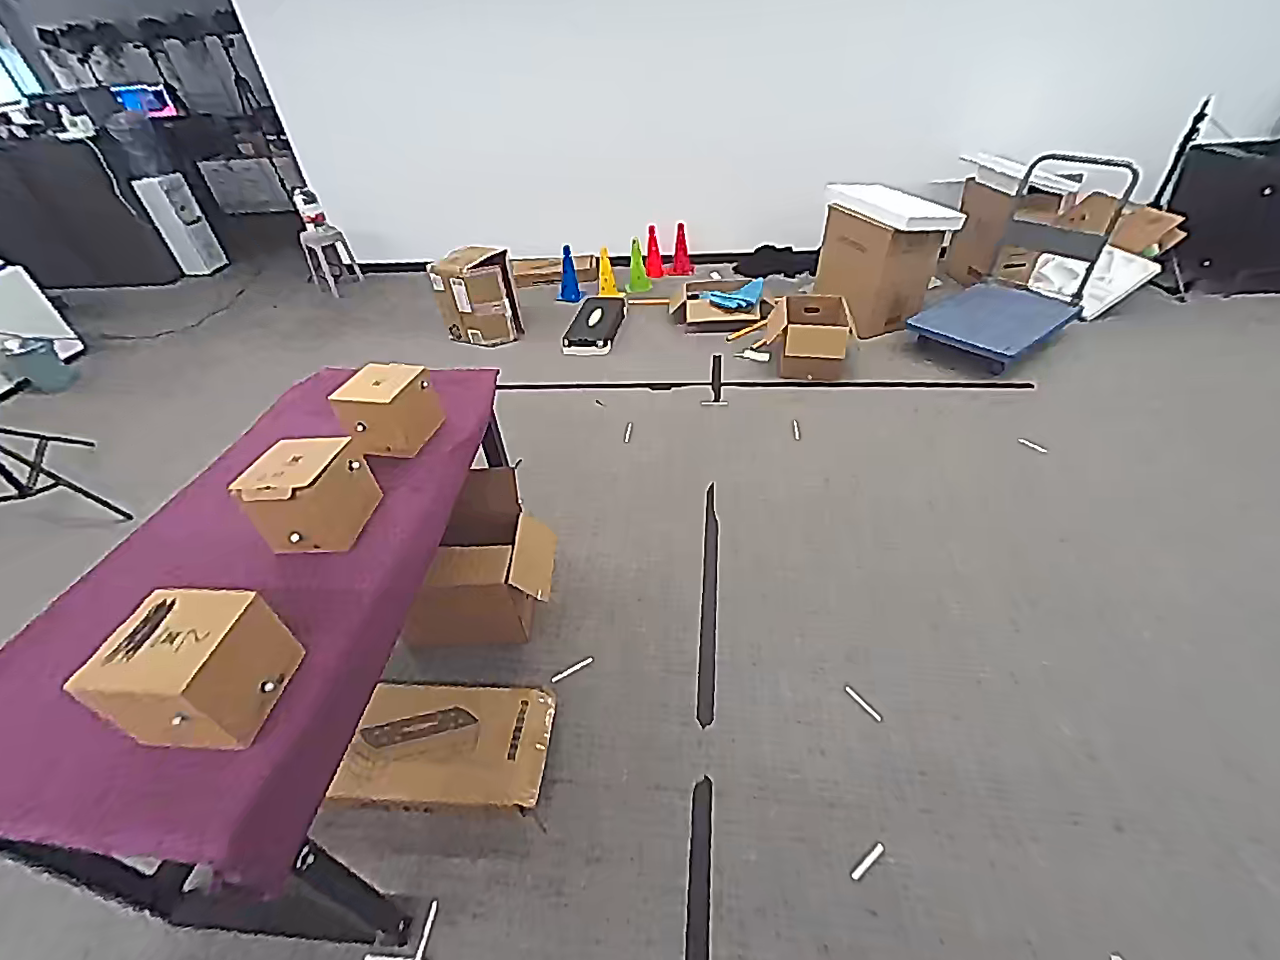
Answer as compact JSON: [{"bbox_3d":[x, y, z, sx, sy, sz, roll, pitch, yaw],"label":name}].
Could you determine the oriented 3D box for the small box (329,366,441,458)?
[{"bbox_3d":[-0.627,-0.170,1.358,0.168,0.176,0.179,4,40,11],"label":"small box"}]

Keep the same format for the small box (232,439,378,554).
[{"bbox_3d":[-0.672,0.033,1.117,0.168,0.176,0.179,-2,40,7],"label":"small box"}]
